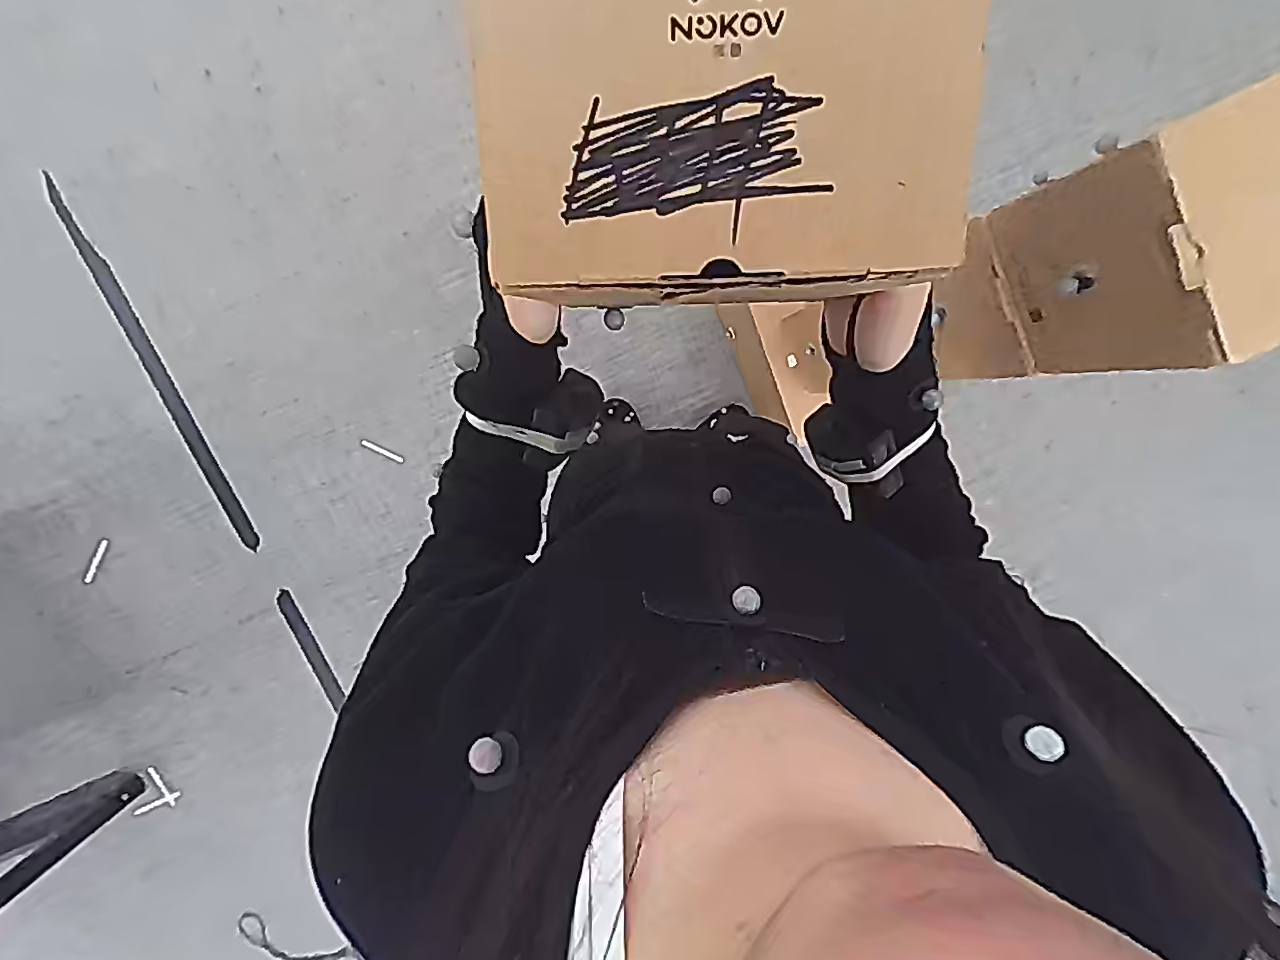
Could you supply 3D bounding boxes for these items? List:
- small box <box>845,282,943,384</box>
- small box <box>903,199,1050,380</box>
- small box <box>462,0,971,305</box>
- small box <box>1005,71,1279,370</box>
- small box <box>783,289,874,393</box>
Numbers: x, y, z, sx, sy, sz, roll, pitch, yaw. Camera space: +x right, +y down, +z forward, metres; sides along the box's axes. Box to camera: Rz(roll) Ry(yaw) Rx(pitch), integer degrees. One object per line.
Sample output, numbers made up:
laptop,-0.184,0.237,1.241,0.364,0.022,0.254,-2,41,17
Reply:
small box,0.422,-0.245,0.759,0.179,0.176,0.168,-23,99,3
small box,0.428,-0.221,0.596,0.179,0.176,0.168,-24,98,4
small box,0.027,-0.176,0.252,0.168,0.176,0.179,-1,105,3
small box,0.436,-0.196,0.434,0.179,0.176,0.168,-25,99,4
small box,0.408,-0.284,1.083,0.168,0.176,0.179,-24,100,3
